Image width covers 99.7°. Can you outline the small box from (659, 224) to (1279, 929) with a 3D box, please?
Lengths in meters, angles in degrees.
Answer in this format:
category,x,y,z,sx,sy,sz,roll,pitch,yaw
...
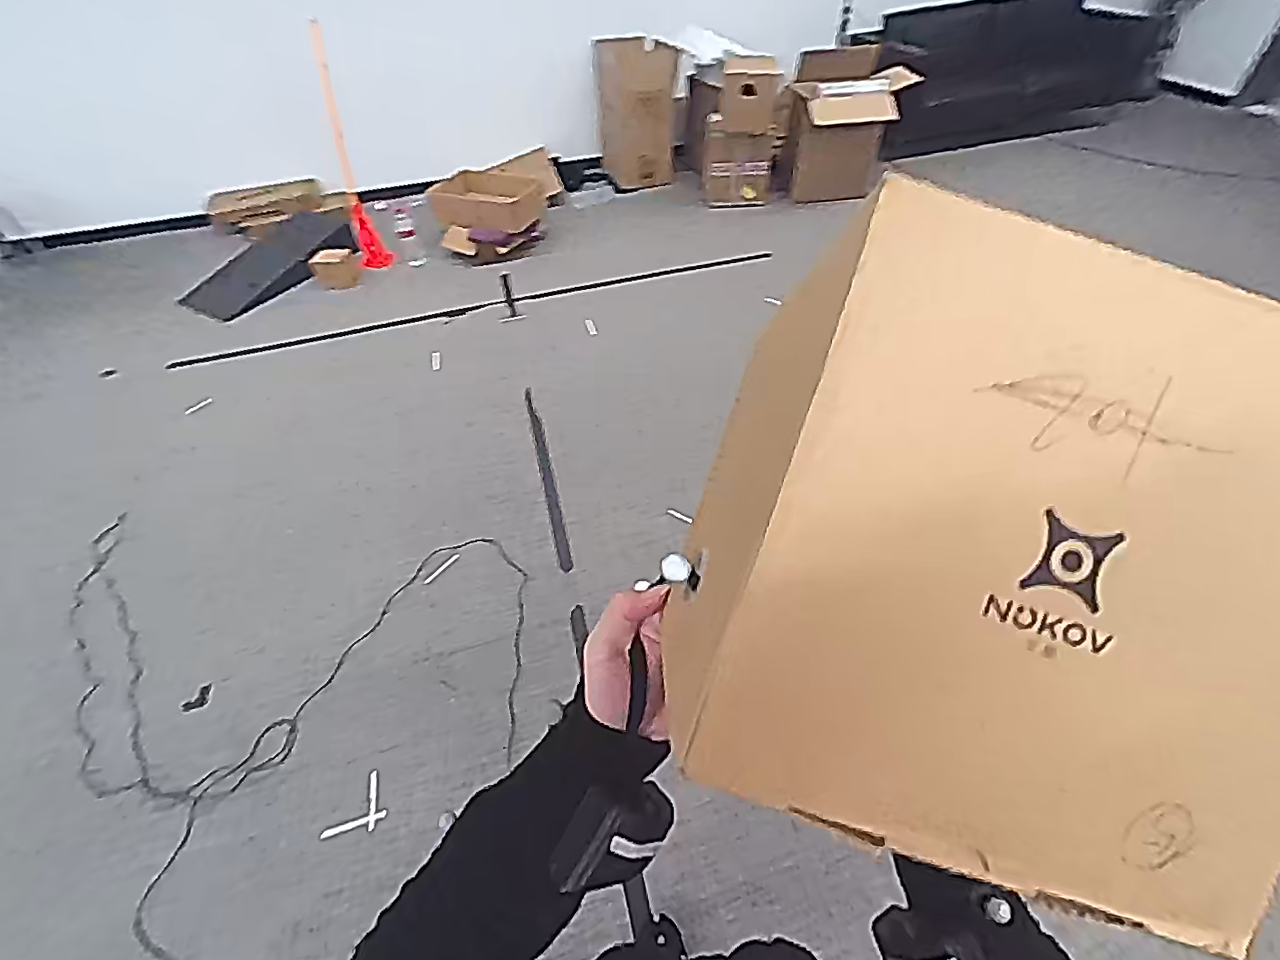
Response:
category,x,y,z,sx,sy,sz,roll,pitch,yaw
small box,0.110,0.029,0.241,0.168,0.176,0.179,18,90,-1
